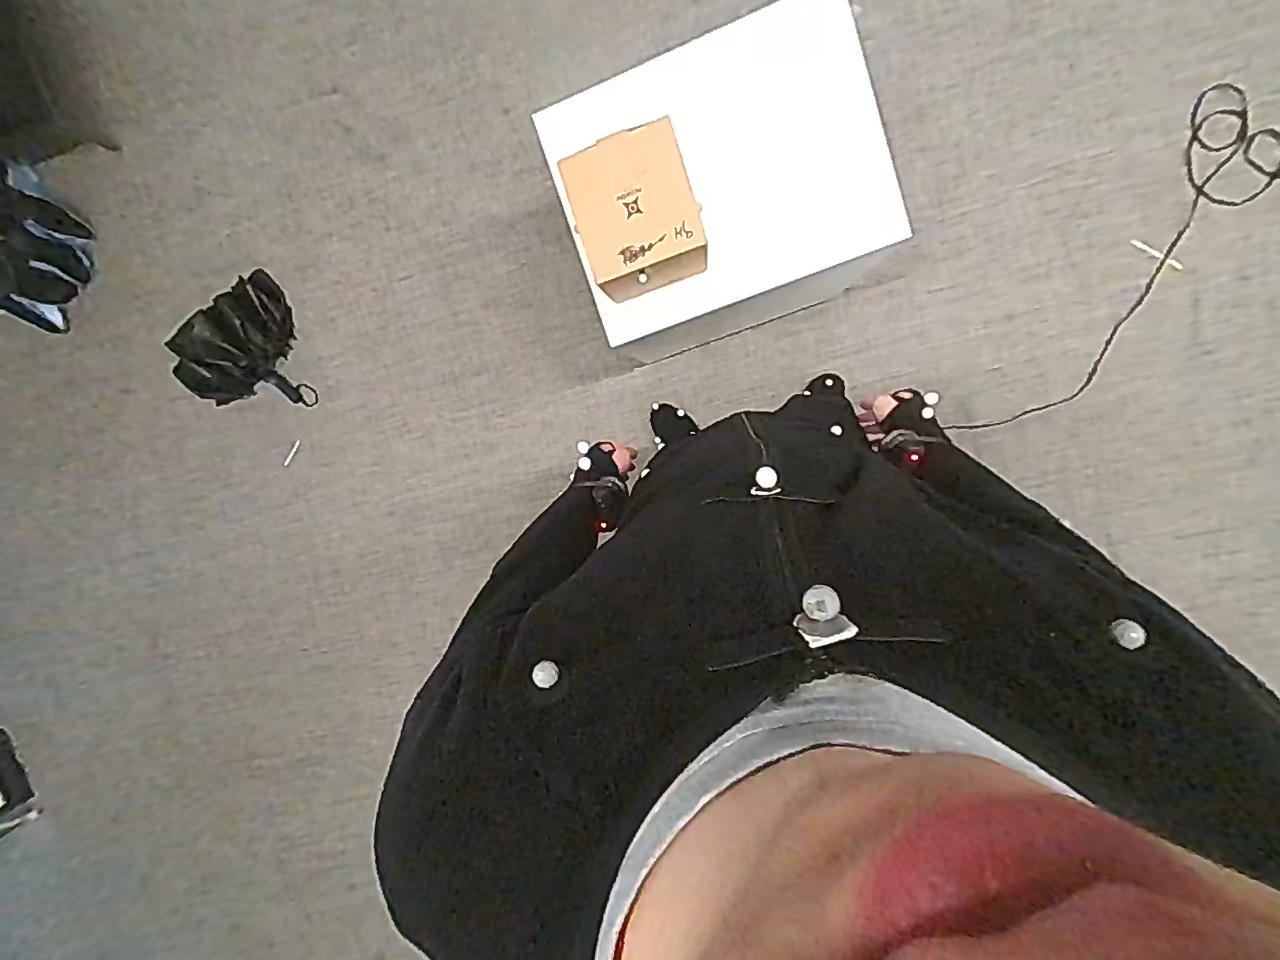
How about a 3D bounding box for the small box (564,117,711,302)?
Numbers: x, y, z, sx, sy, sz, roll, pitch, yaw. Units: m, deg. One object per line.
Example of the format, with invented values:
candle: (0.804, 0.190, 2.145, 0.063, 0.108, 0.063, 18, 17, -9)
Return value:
small box: (0.004, -0.391, 0.816, 0.168, 0.176, 0.179, -16, 96, 9)
